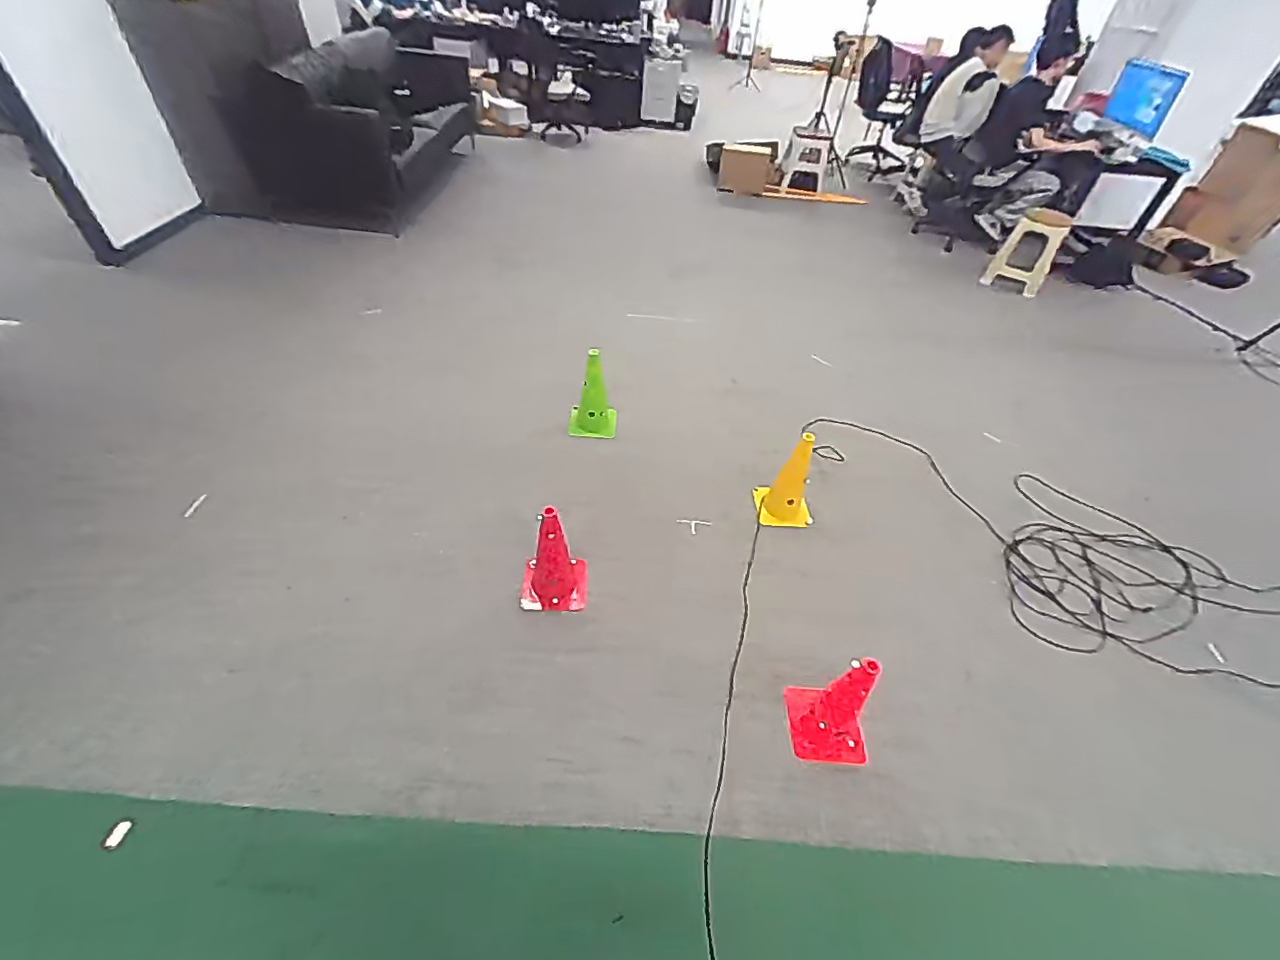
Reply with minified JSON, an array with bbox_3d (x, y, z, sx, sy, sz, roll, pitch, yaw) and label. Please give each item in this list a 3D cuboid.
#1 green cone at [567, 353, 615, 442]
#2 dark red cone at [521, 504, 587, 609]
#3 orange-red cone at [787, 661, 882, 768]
[{"bbox_3d":[-0.196,-0.358,2.240,0.202,0.368,0.200,4,45,-3],"label":"green cone"},{"bbox_3d":[-0.261,0.212,1.616,0.202,0.394,0.201,1,46,-5],"label":"dark red cone"},{"bbox_3d":[0.525,0.560,1.372,0.198,0.360,0.199,5,43,-2],"label":"orange-red cone"}]
